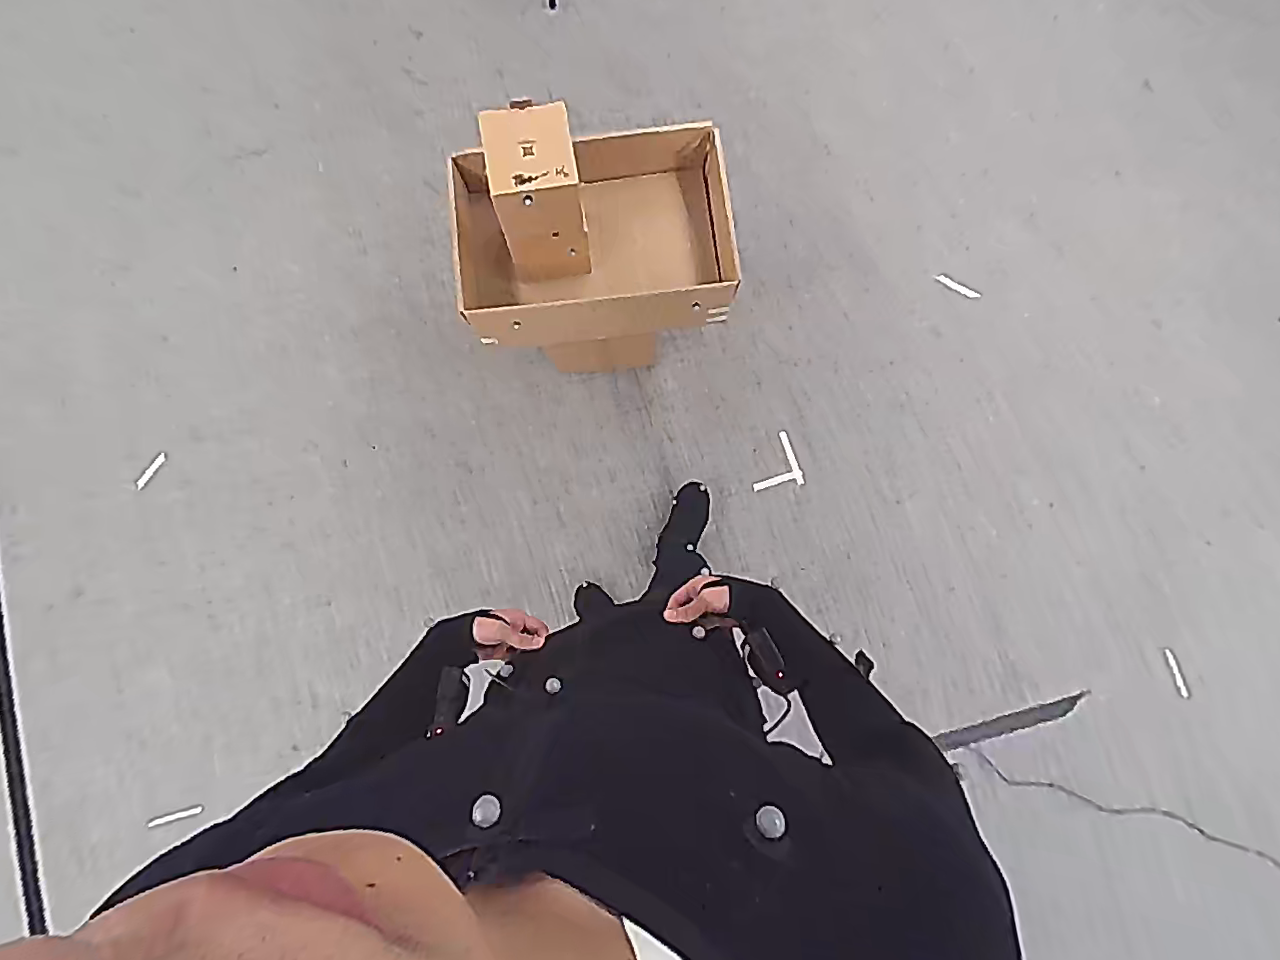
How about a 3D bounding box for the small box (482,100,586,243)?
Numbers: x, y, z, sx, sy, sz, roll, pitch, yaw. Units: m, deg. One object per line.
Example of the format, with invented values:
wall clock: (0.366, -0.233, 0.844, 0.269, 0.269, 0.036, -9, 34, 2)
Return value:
small box: (-0.204, -0.604, 1.074, 0.168, 0.176, 0.179, -9, 82, -3)
